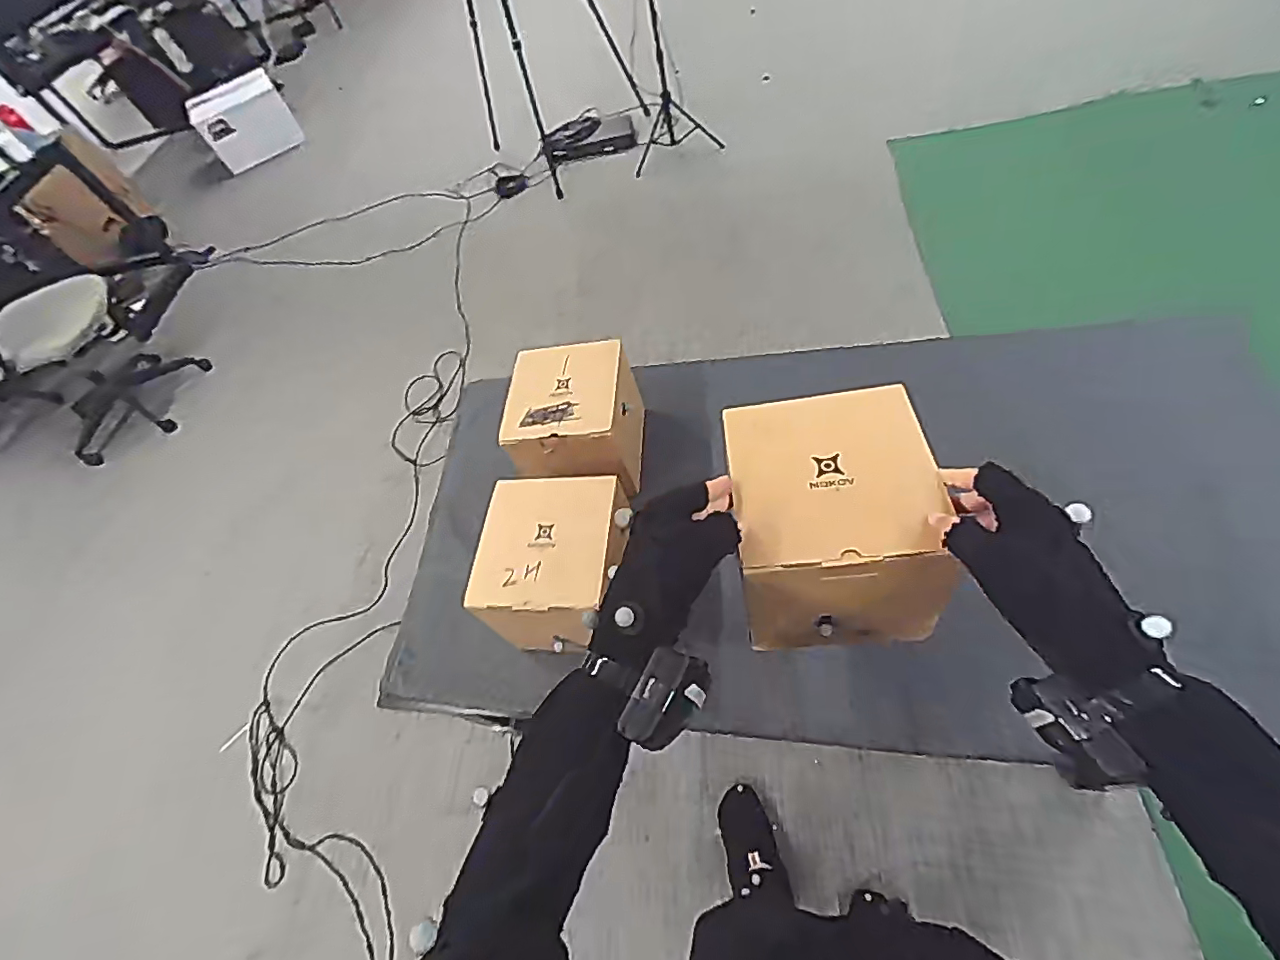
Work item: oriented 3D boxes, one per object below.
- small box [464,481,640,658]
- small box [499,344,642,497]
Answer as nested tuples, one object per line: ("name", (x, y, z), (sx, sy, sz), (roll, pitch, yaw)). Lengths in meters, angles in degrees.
("small box", (-0.099, 0.119, 0.711), (0.168, 0.176, 0.179), (-2, 57, 13))
("small box", (-0.095, -0.081, 0.837), (0.168, 0.176, 0.179), (-4, 57, 12))
